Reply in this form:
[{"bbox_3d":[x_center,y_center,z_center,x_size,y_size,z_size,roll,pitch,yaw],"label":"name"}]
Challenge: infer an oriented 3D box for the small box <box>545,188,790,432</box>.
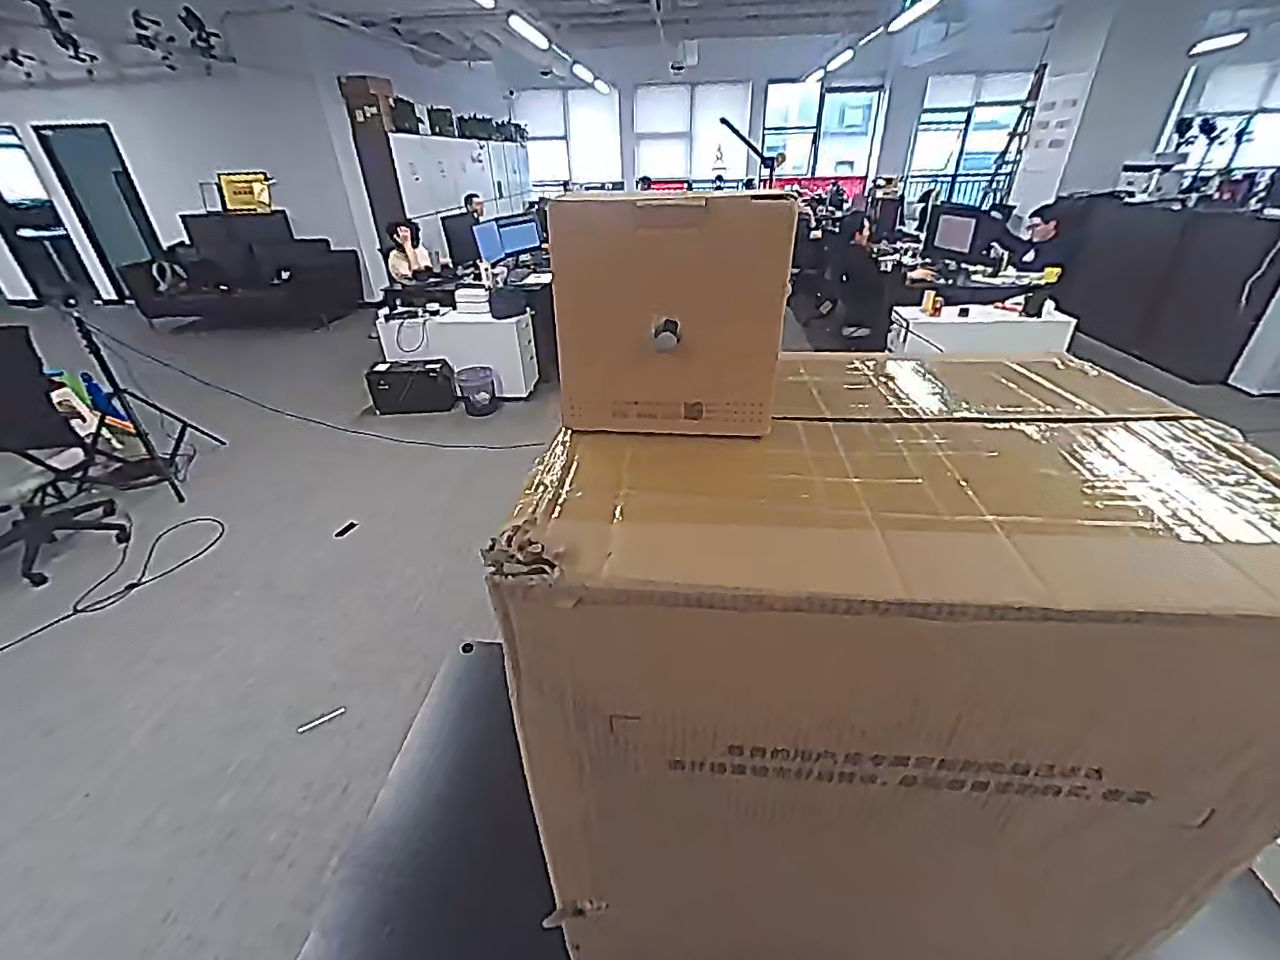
[{"bbox_3d":[0.027,-0.149,0.464,0.168,0.176,0.179,2,30,5],"label":"small box"}]
